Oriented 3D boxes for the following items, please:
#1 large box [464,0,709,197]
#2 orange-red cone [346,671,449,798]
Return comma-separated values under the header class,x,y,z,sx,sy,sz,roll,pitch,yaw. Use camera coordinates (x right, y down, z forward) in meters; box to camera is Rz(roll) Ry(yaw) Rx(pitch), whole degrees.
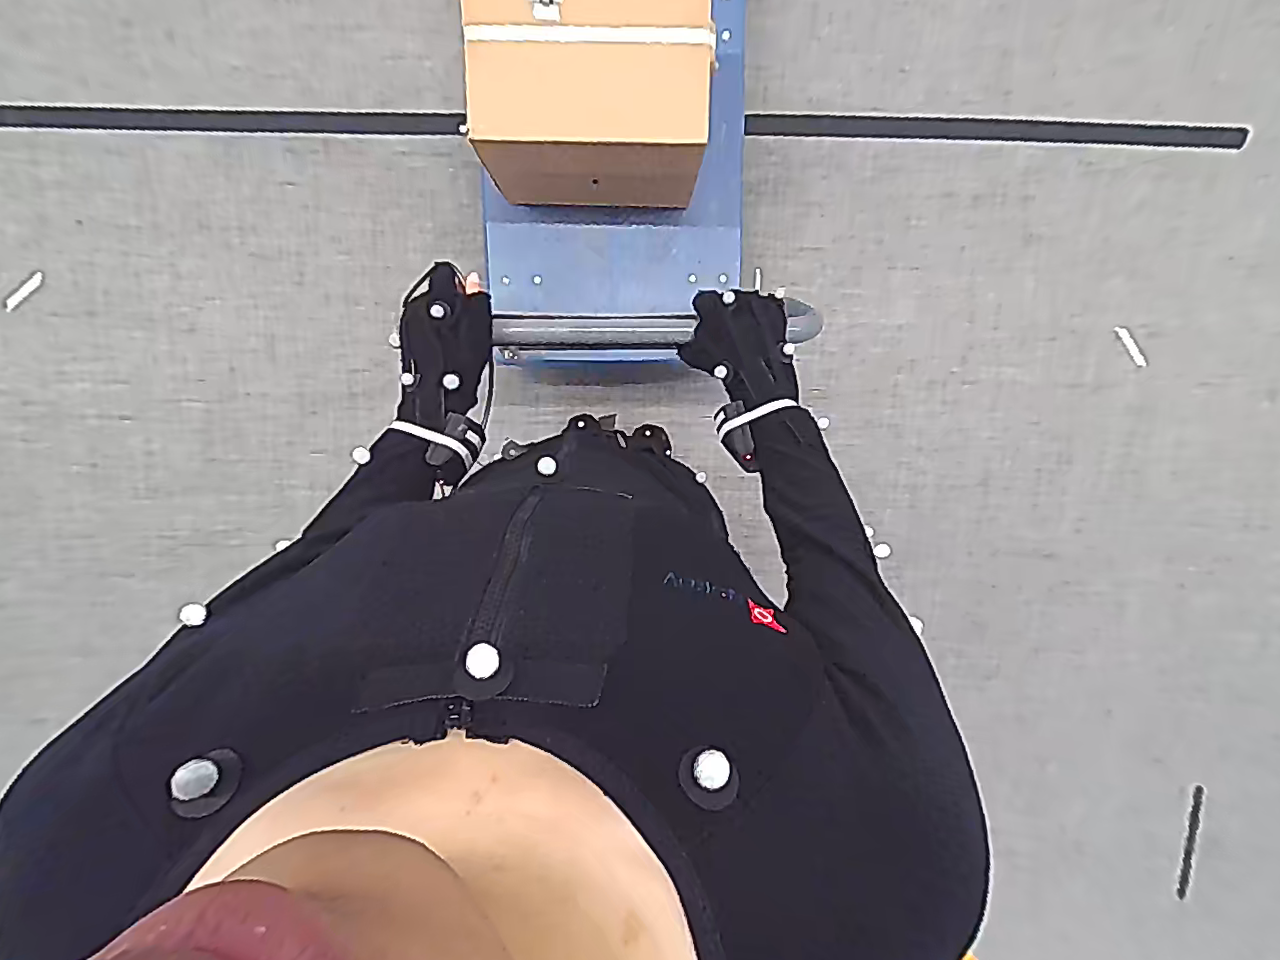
class,x,y,z,sx,sy,sz,roll,pitch,yaw
large box,-0.086,-0.751,1.028,0.408,0.320,0.320,0,99,0
orange-red cone,-0.655,0.676,1.395,0.198,0.360,0.199,9,97,-3
